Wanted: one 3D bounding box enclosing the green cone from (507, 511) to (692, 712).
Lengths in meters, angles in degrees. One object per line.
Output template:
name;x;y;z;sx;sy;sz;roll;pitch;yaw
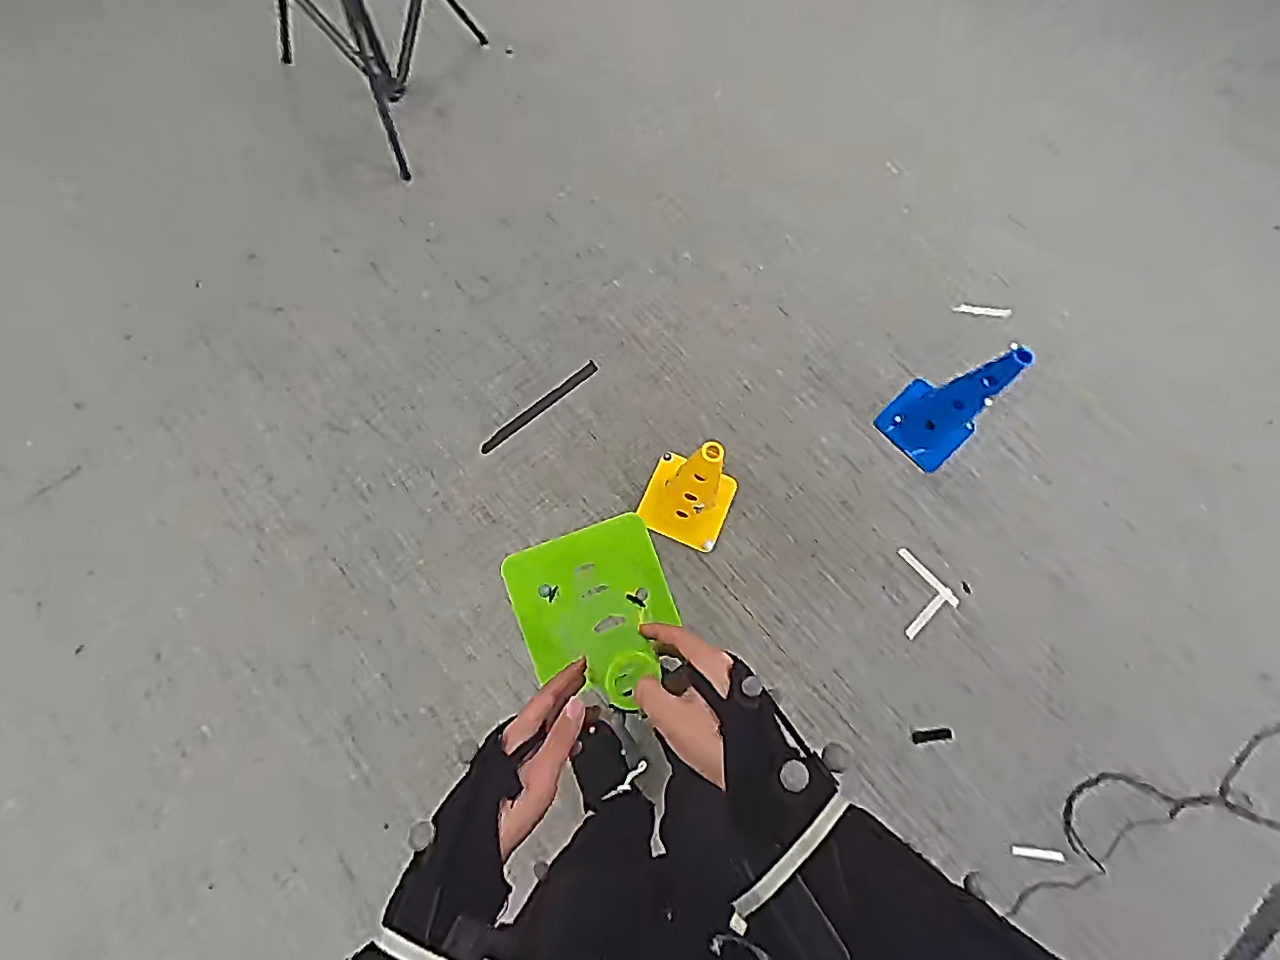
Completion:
green cone;-0.028;0.144;0.535;0.202;0.368;0.200;-20;88;-9
